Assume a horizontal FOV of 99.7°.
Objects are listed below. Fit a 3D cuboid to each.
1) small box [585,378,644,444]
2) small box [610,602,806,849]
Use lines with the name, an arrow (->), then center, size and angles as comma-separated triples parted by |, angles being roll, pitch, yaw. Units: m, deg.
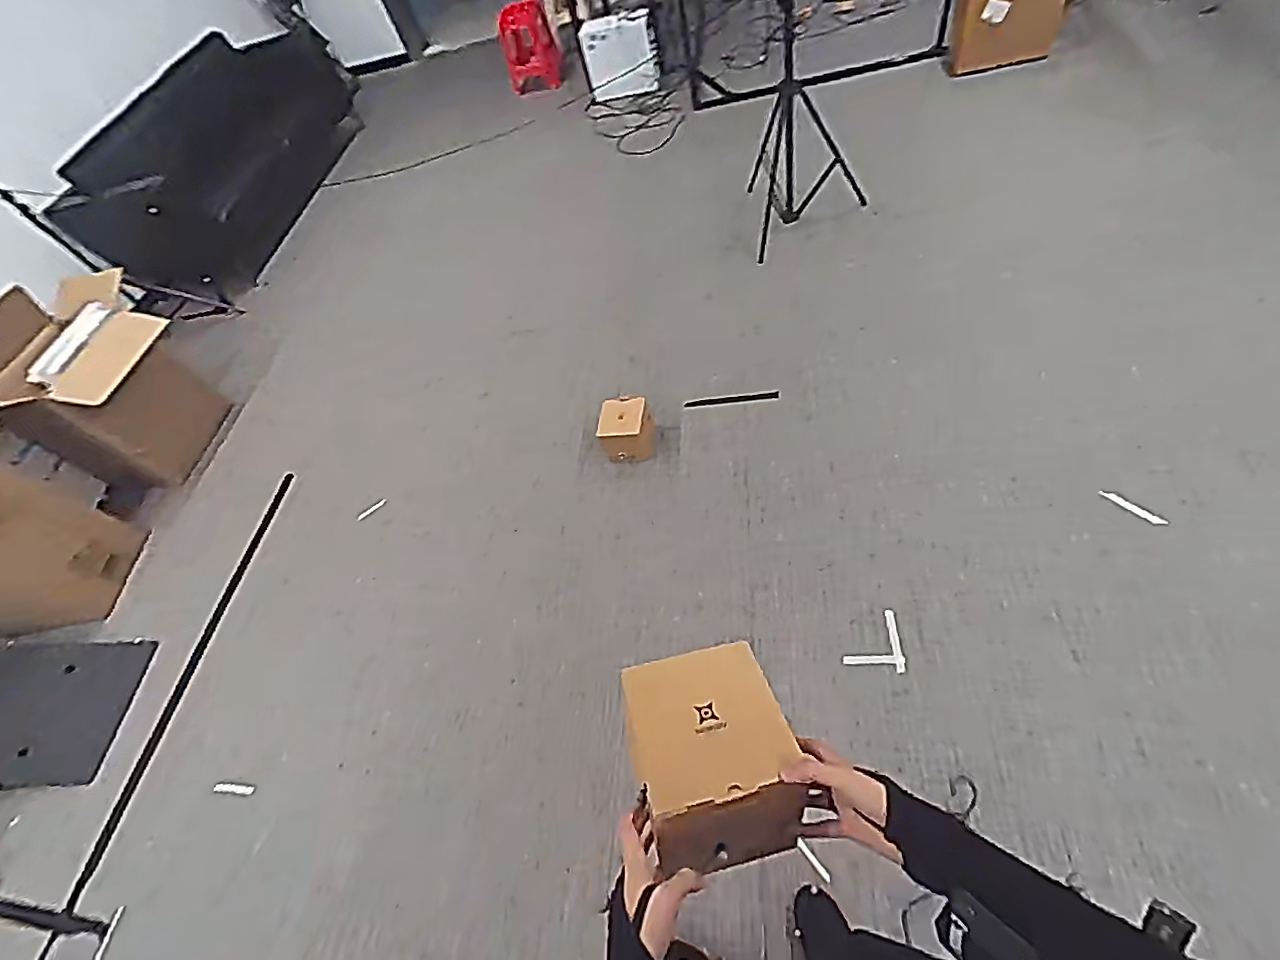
small box -> -0.088, -0.250, 1.993 | 0.168, 0.176, 0.179 | -2, 57, 16
small box -> 0.063, 0.271, 0.611 | 0.168, 0.176, 0.179 | -10, 36, -9
